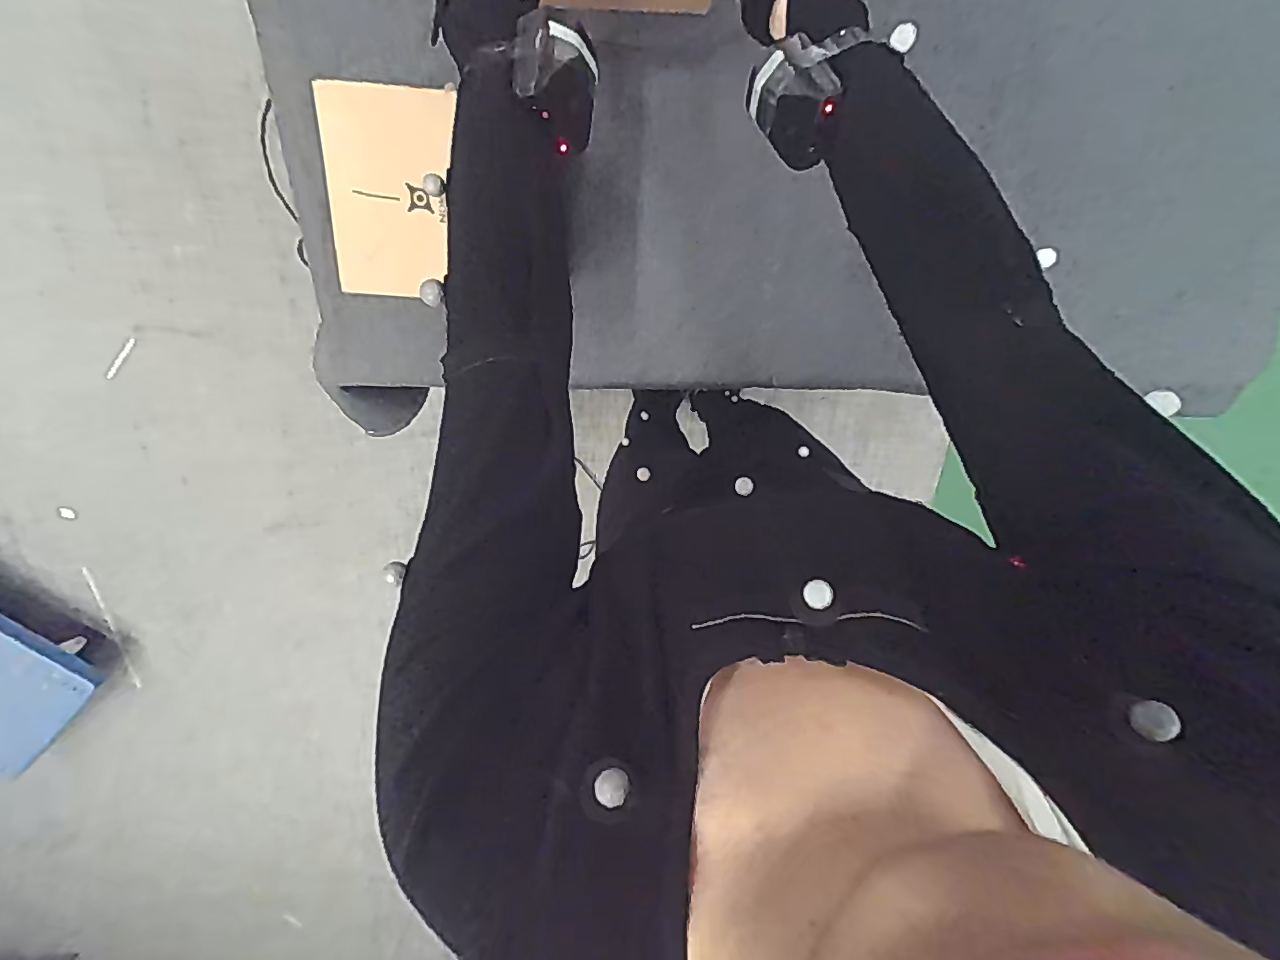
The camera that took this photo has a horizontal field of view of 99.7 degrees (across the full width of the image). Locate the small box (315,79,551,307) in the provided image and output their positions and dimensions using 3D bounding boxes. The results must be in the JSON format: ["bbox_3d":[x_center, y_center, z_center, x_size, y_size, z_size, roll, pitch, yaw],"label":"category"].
[{"bbox_3d":[-0.185,-0.274,0.544,0.179,0.176,0.168,3,113,-3],"label":"small box"}]

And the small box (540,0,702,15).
[{"bbox_3d":[-0.012,-0.517,0.443,0.179,0.176,0.168,1,114,-2],"label":"small box"}]
